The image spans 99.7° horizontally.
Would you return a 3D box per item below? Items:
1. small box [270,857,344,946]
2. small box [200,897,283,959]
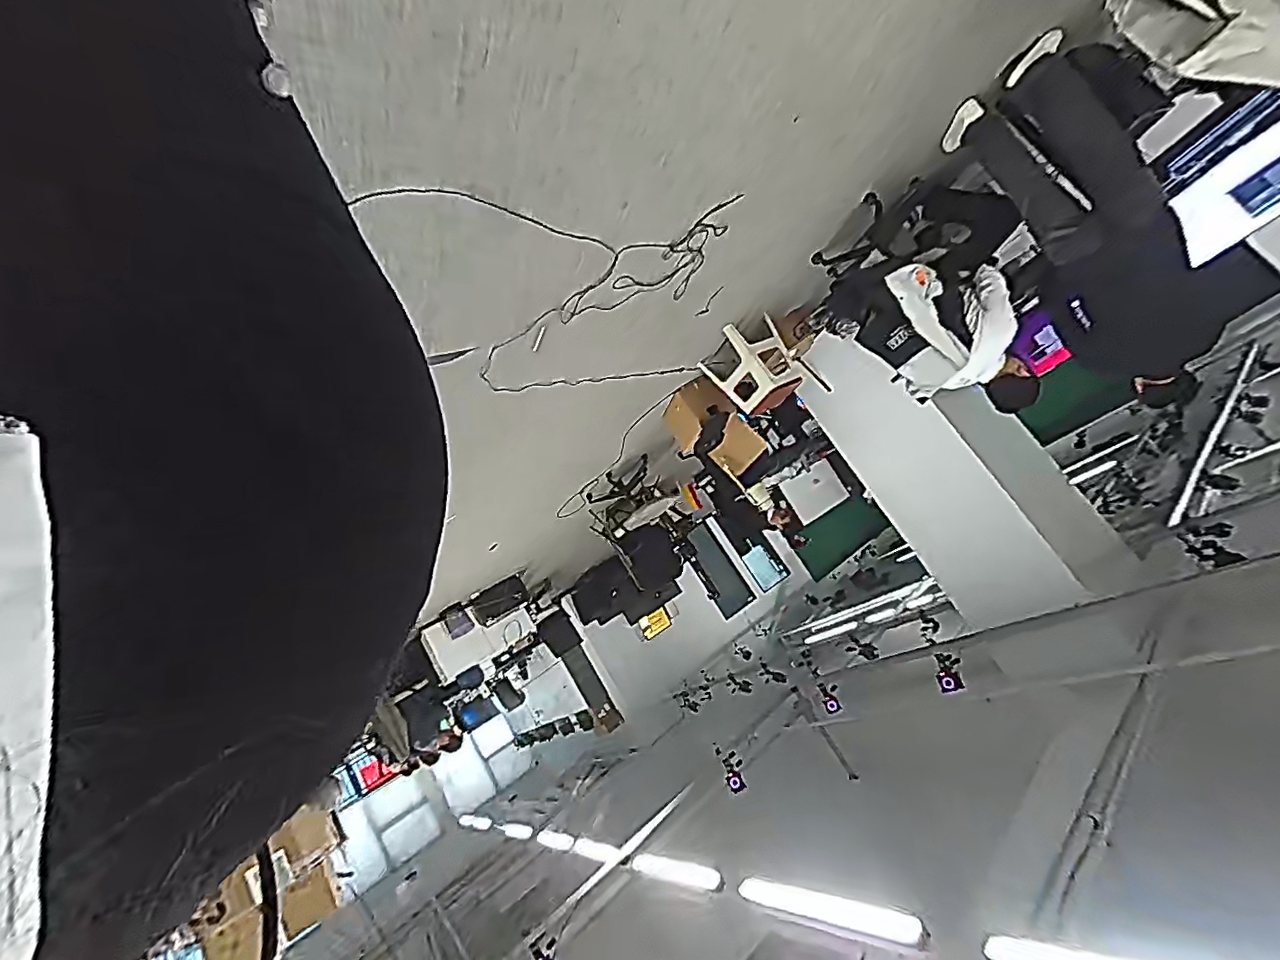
[{"bbox_3d":[-1.175,1.478,1.912,0.168,0.176,0.179,-25,167,-29],"label":"small box"},{"bbox_3d":[-1.329,1.545,1.804,0.168,0.176,0.179,-22,164,-30],"label":"small box"}]
